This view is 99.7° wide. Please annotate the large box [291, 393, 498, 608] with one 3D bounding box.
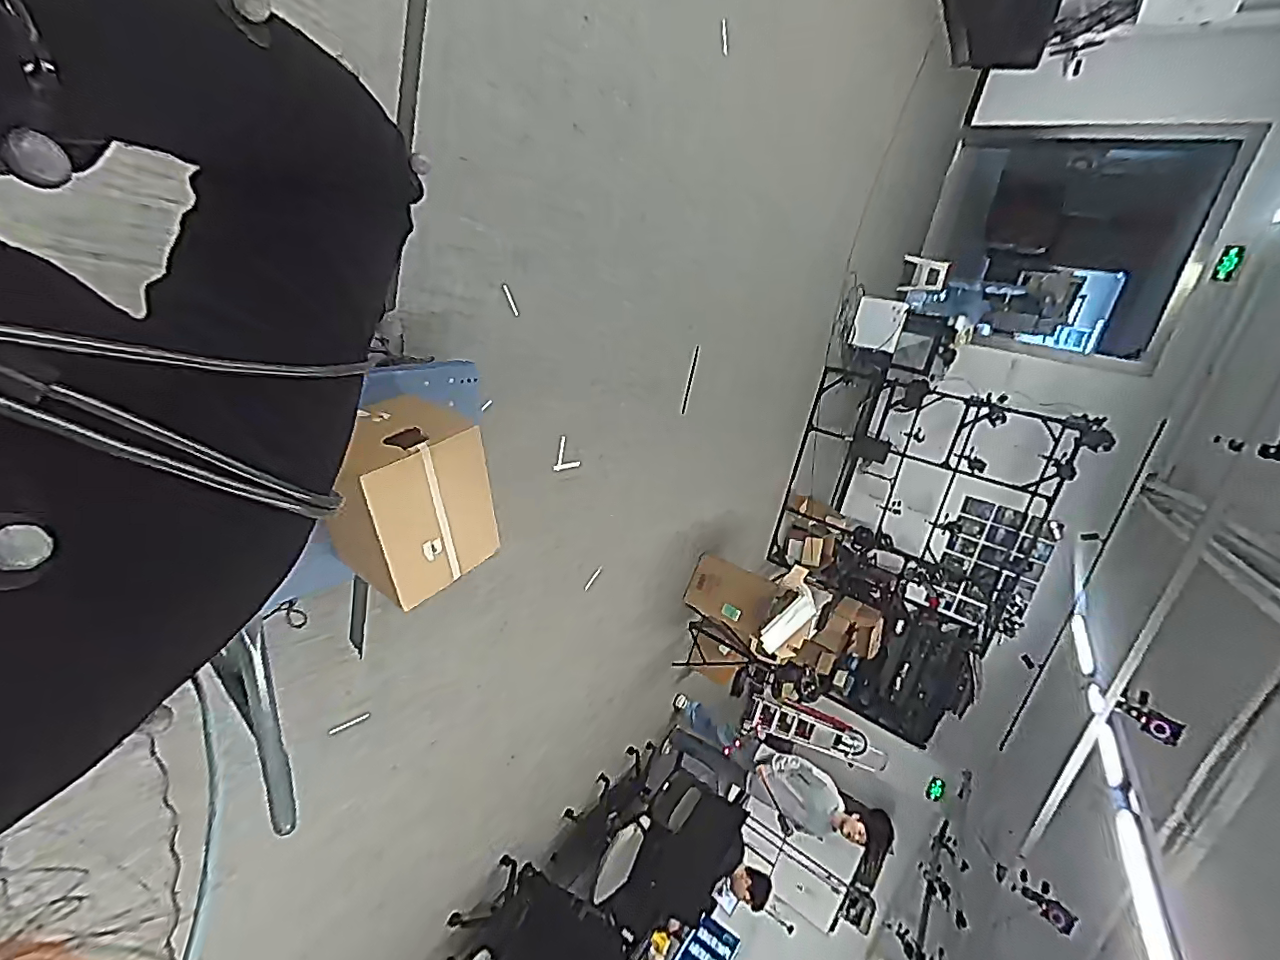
[{"bbox_3d":[-0.615,0.041,1.402,0.320,0.320,0.408,-35,137,-42],"label":"large box"}]
